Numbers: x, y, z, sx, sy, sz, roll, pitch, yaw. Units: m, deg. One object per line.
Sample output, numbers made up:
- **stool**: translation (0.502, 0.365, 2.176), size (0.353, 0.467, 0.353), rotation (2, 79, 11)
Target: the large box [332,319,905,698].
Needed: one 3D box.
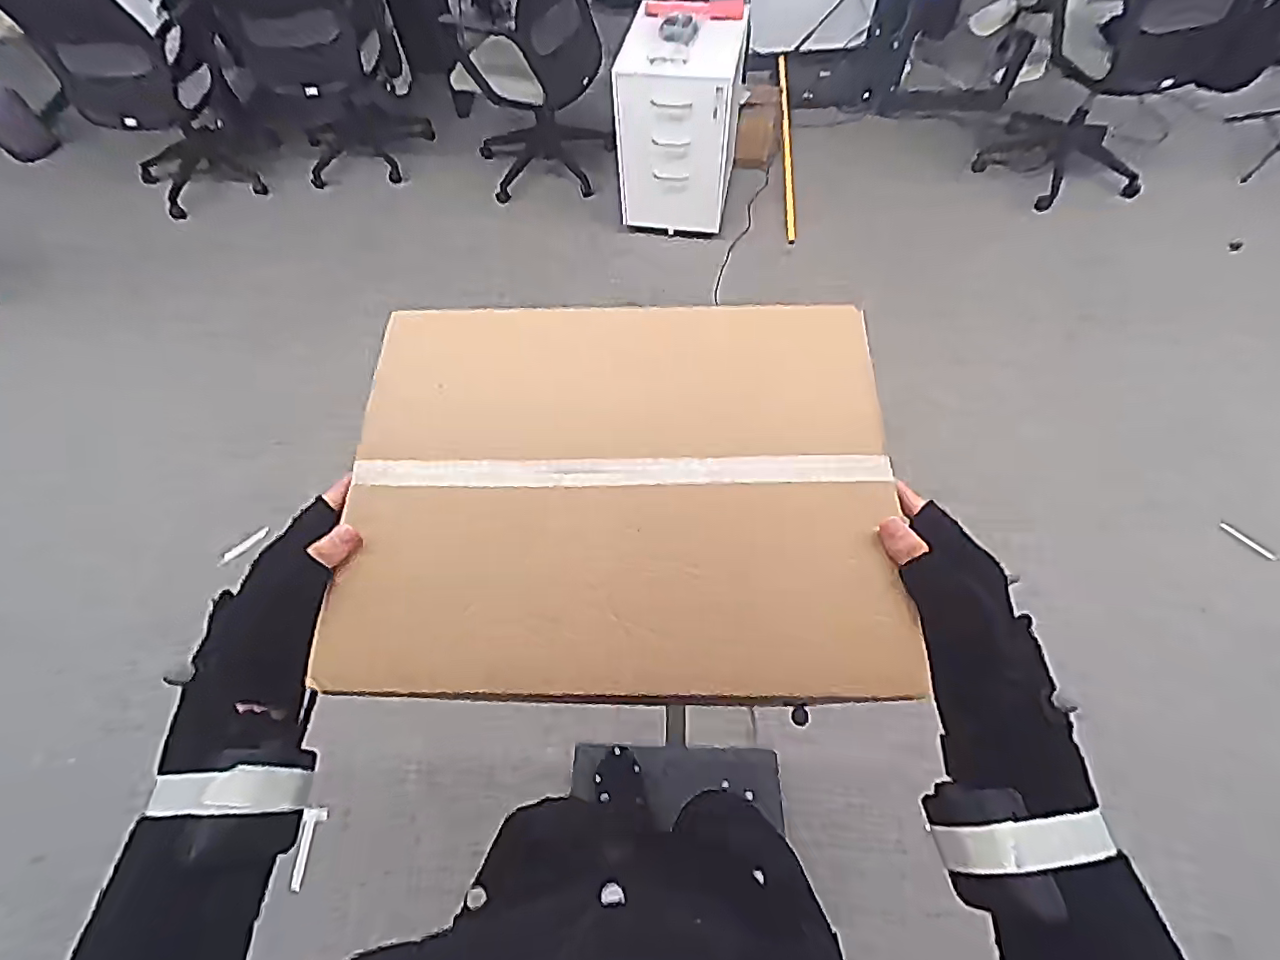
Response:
- **large box**: translation (-0.011, 0.059, 0.563), size (0.408, 0.320, 0.320), rotation (0, 66, 2)

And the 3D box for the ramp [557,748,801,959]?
- **ramp**: translation (0.072, 1.048, 1.014), size (0.509, 0.206, 0.991), rotation (-2, 60, 3)
